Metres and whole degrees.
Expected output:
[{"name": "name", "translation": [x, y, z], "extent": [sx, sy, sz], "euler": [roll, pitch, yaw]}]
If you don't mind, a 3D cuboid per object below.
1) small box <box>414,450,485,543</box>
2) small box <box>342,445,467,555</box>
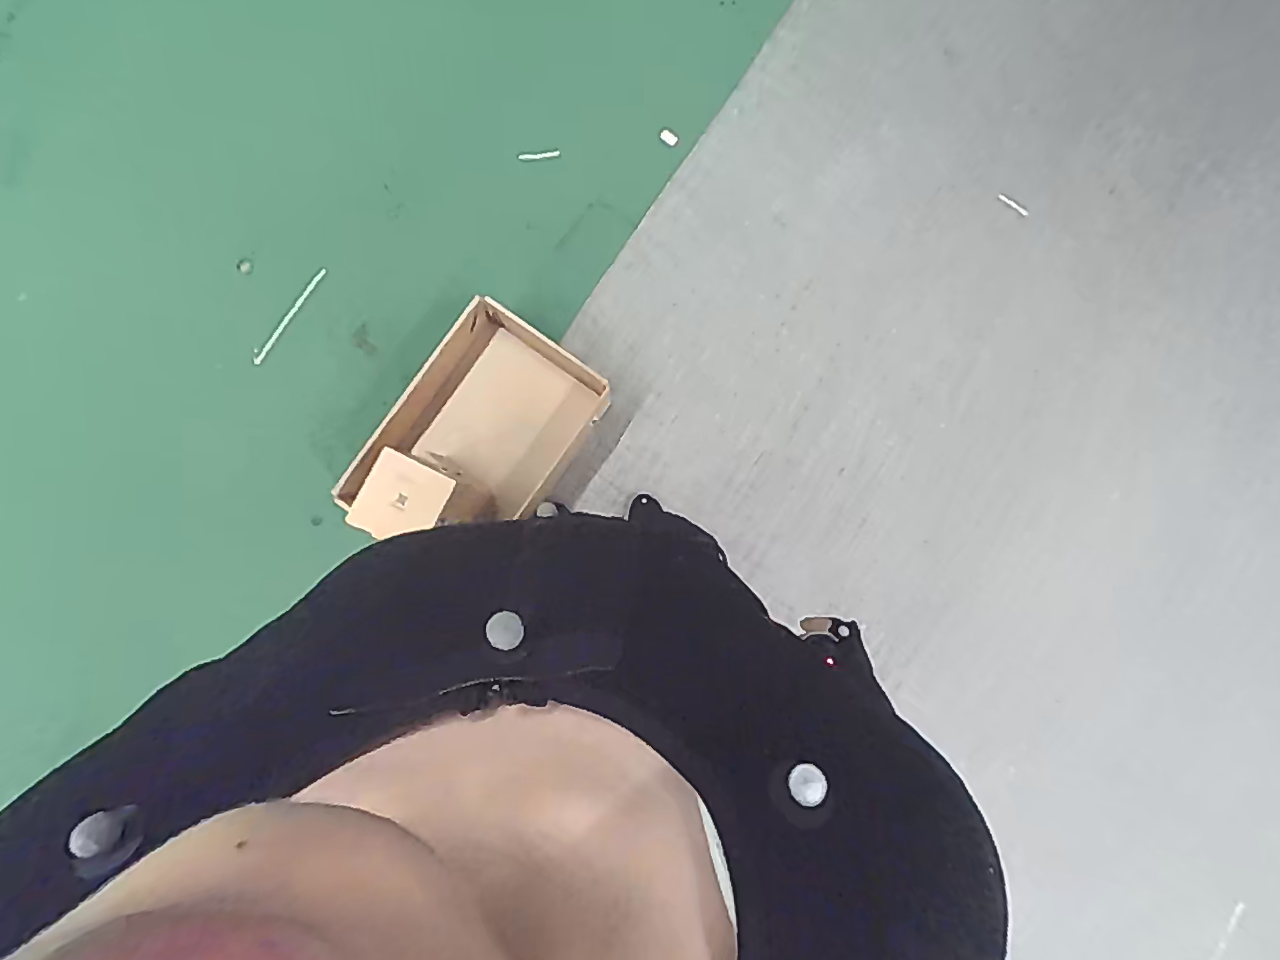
[{"name": "small box", "translation": [-0.506, 0.046, 1.335], "extent": [0.168, 0.176, 0.179], "euler": [36, 86, -3]}, {"name": "small box", "translation": [-0.496, 0.045, 1.171], "extent": [0.168, 0.176, 0.179], "euler": [26, 84, -4]}]
